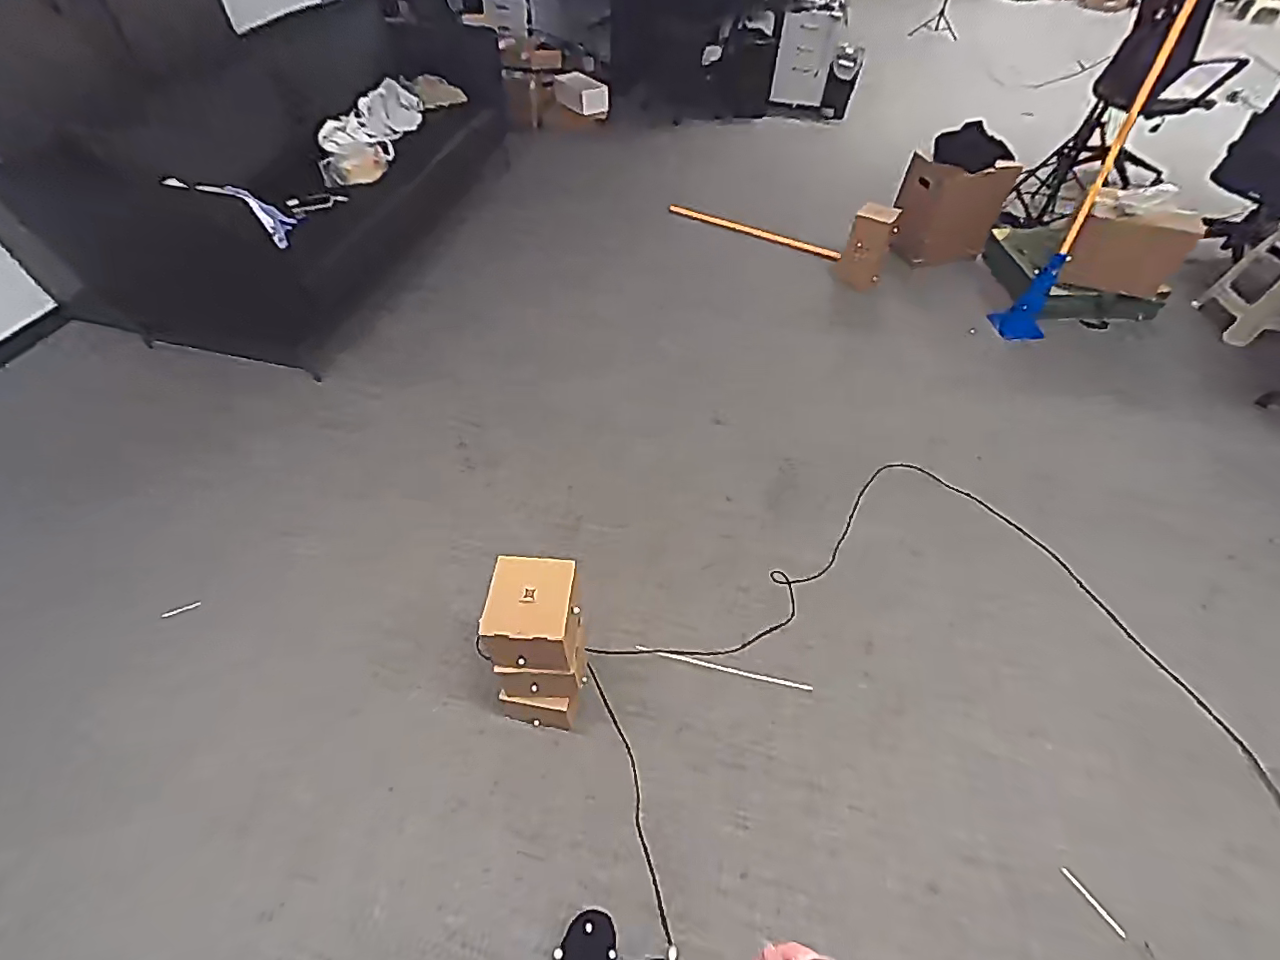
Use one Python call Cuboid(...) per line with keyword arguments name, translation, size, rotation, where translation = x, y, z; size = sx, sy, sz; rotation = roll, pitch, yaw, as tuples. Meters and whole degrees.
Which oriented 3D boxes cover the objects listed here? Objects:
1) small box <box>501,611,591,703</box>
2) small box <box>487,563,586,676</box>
Cuboid(name="small box", translation=(-0.209, 0.413, 1.267), size=(0.179, 0.176, 0.168), rotation=(-1, 50, 1))
Cuboid(name="small box", translation=(-0.210, 0.298, 1.151), size=(0.168, 0.176, 0.179), rotation=(2, 51, 3))
